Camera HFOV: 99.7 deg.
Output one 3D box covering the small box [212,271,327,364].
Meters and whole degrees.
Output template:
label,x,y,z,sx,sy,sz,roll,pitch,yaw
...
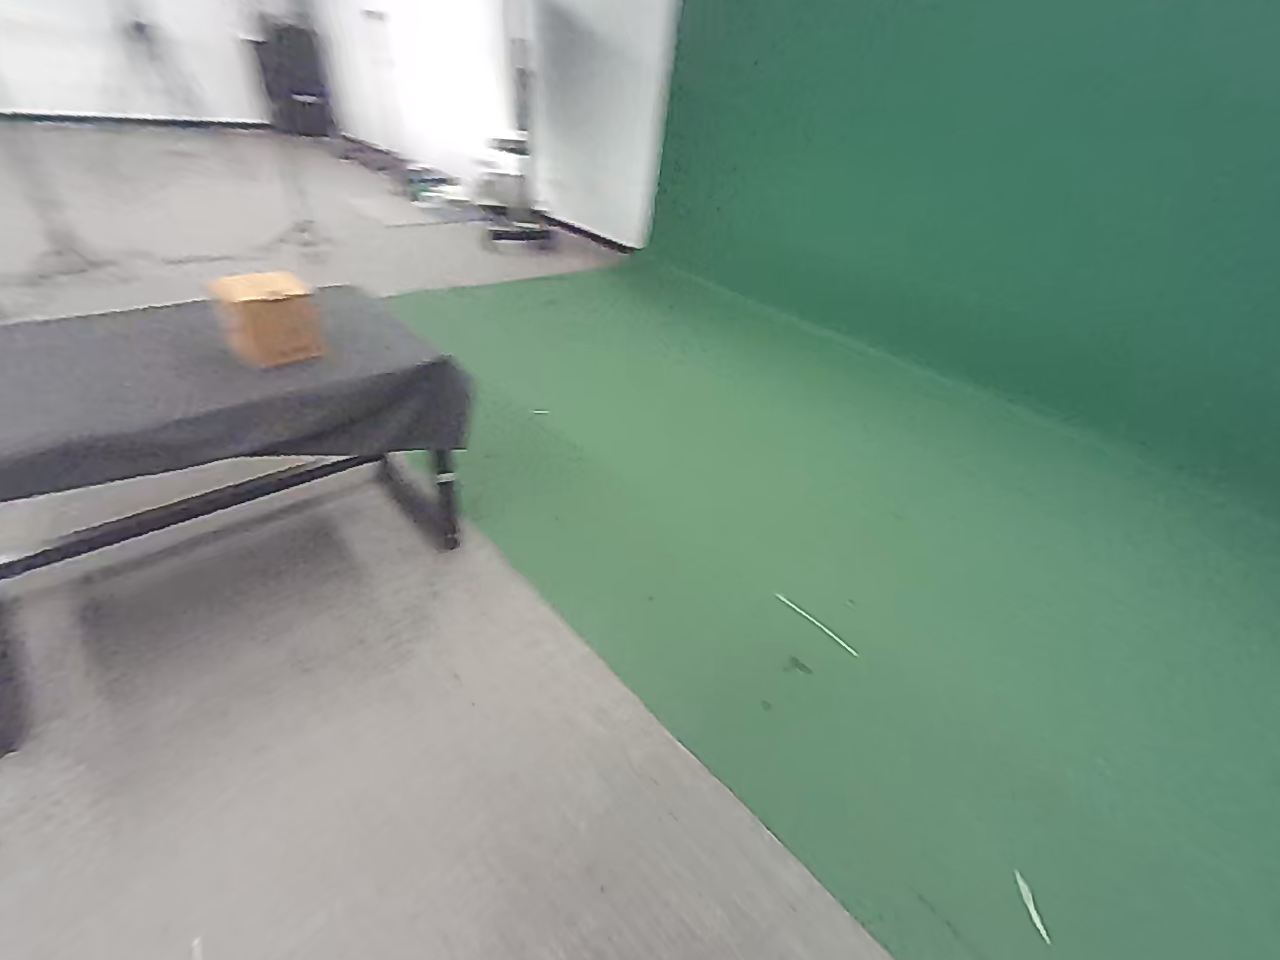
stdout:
label,x,y,z,sx,sy,sz,roll,pitch,yaw
small box,-0.904,-0.399,1.331,0.179,0.176,0.168,32,42,30
